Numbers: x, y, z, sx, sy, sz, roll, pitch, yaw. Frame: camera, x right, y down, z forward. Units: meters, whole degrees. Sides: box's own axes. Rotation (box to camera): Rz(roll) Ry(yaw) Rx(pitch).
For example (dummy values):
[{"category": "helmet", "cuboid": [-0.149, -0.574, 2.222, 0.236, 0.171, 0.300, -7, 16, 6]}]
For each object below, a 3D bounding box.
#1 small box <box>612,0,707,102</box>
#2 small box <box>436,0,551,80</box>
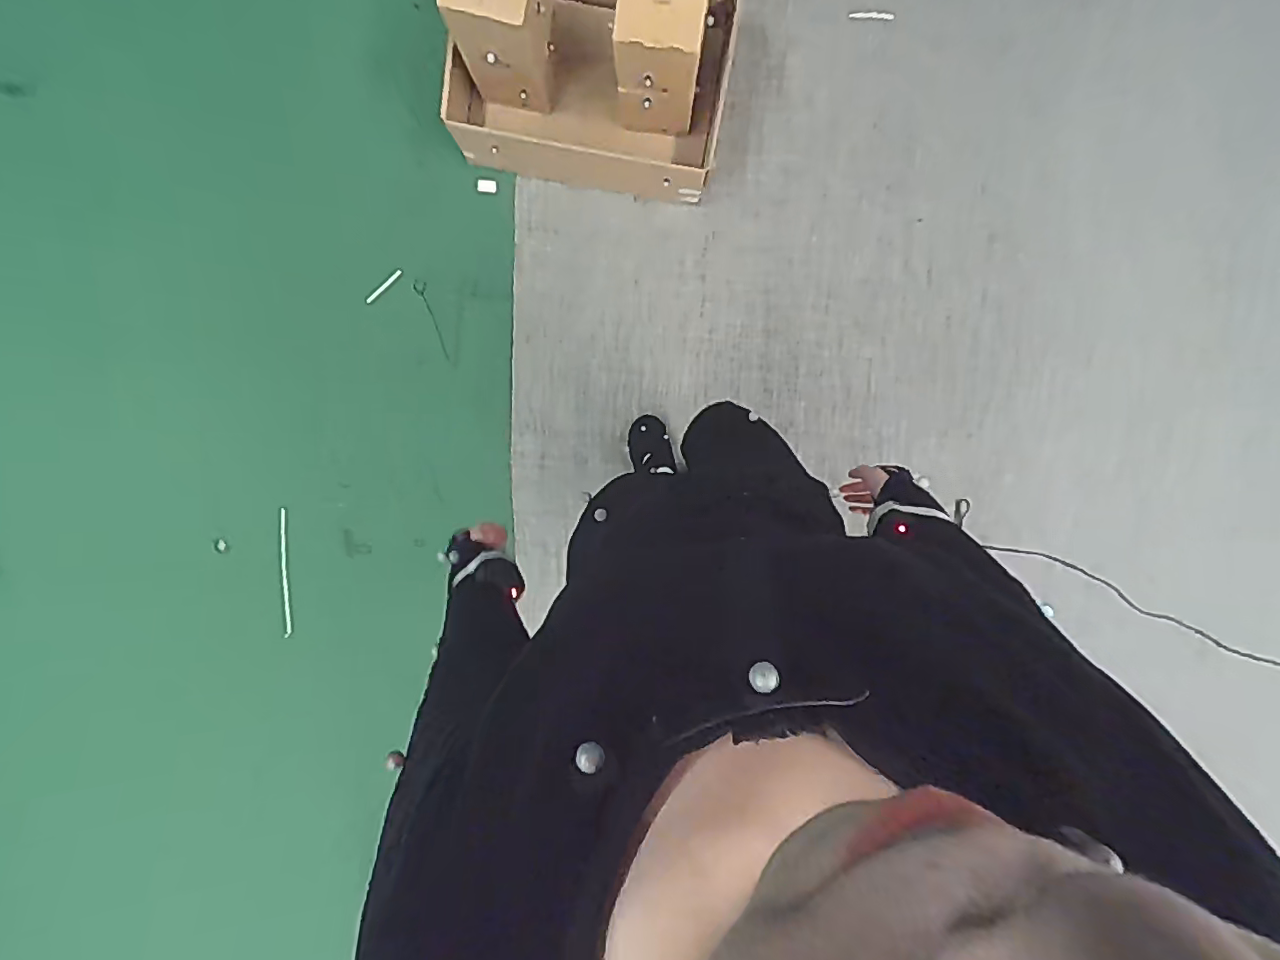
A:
[{"category": "small box", "cuboid": [0.041, -0.896, 1.067, 0.168, 0.176, 0.179, 9, 99, 0]}, {"category": "small box", "cuboid": [-0.279, -0.946, 1.065, 0.168, 0.176, 0.179, 13, 99, -2]}]
